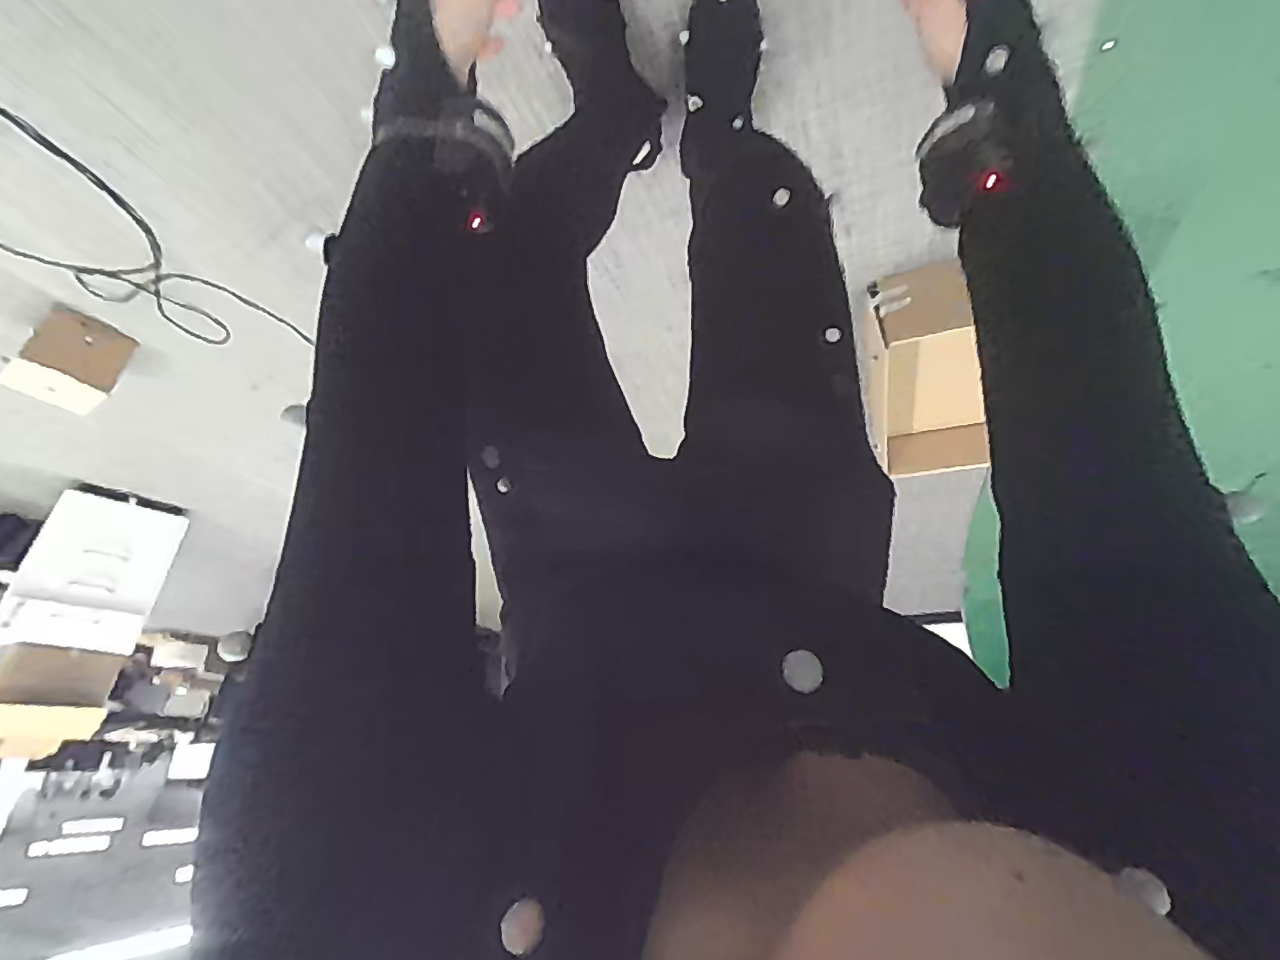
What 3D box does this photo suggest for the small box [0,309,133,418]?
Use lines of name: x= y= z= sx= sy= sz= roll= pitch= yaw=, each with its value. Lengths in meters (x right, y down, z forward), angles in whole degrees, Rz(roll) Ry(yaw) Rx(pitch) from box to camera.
small box: x=-1.407 y=-0.283 z=1.330 sx=0.179 sy=0.176 sz=0.168 roll=-17 pitch=147 yaw=29
